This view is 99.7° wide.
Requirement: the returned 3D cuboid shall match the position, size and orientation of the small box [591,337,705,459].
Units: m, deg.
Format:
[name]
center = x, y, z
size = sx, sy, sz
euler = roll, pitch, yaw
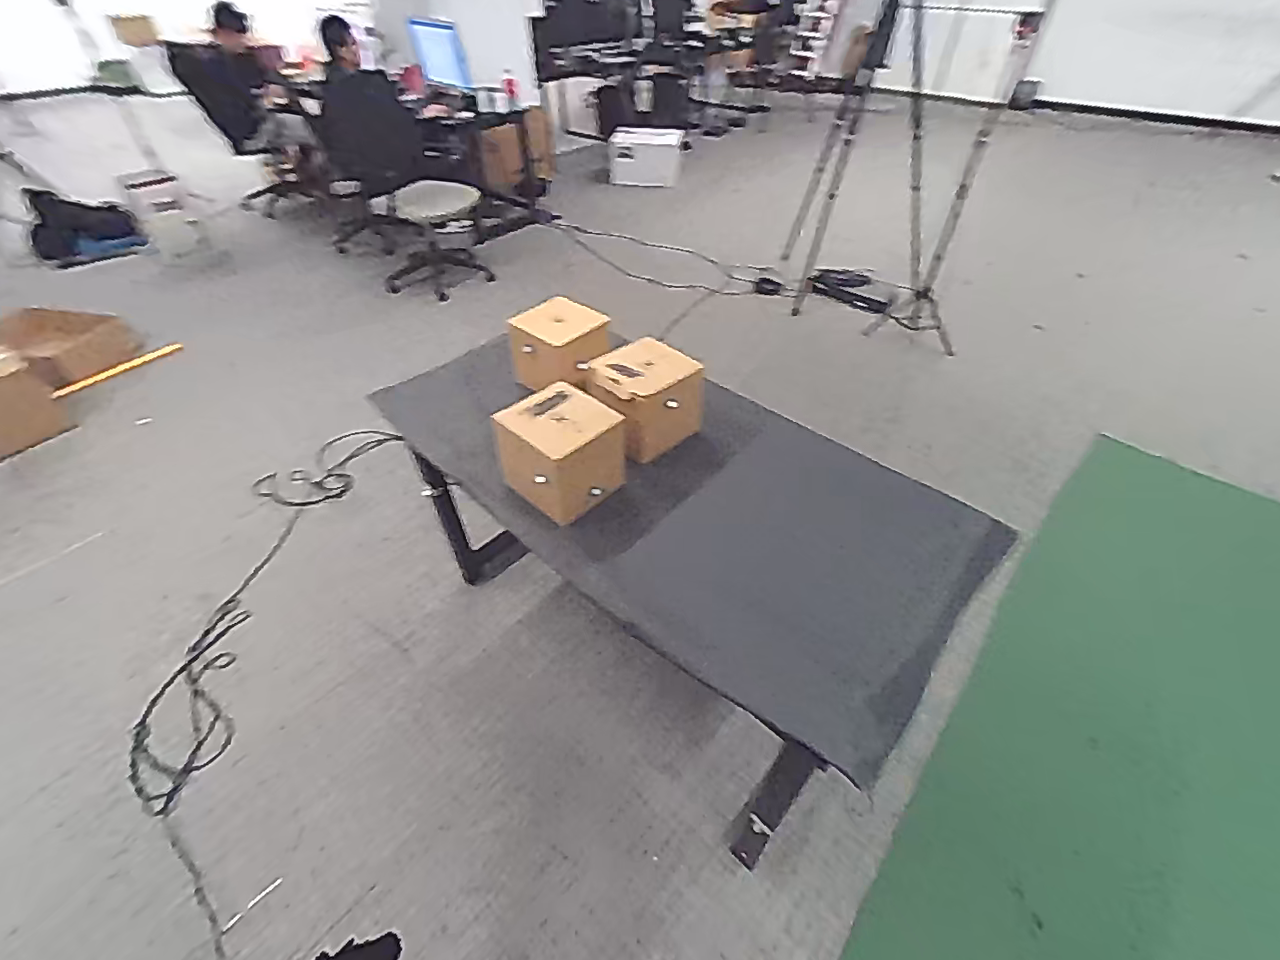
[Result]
[small box]
center = 0.018, -0.173, 1.148
size = 0.179, 0.176, 0.168
euler = -32, 53, -30
